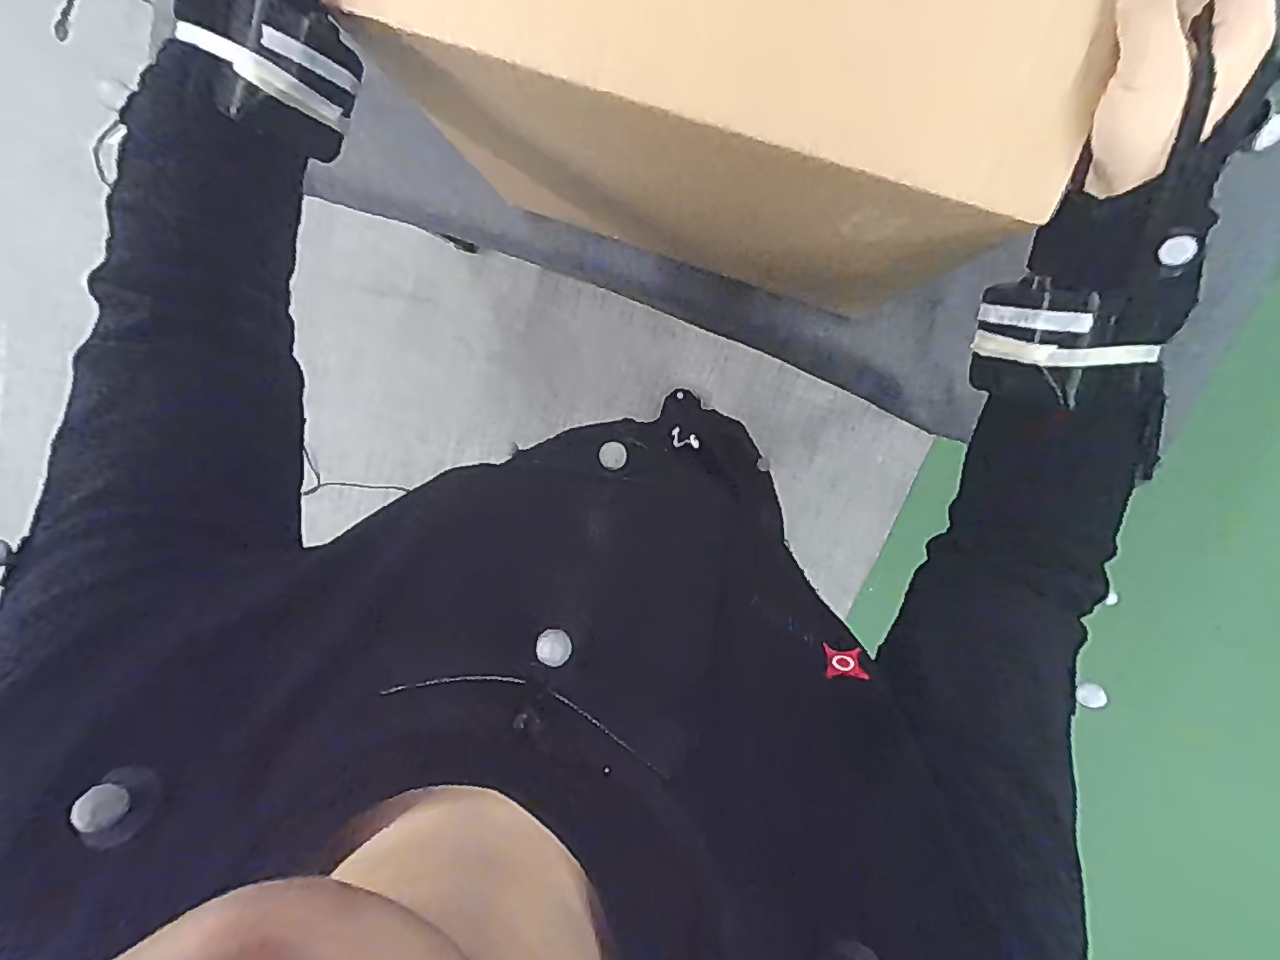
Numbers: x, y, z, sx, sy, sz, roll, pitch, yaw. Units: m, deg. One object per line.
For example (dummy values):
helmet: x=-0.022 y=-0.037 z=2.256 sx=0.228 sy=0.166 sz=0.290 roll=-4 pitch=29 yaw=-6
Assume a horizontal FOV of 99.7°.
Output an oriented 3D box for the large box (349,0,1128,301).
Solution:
large box: x=0.079 y=-0.367 z=0.411 sx=0.408 sy=0.320 sz=0.320 roll=18 pitch=101 yaw=2
